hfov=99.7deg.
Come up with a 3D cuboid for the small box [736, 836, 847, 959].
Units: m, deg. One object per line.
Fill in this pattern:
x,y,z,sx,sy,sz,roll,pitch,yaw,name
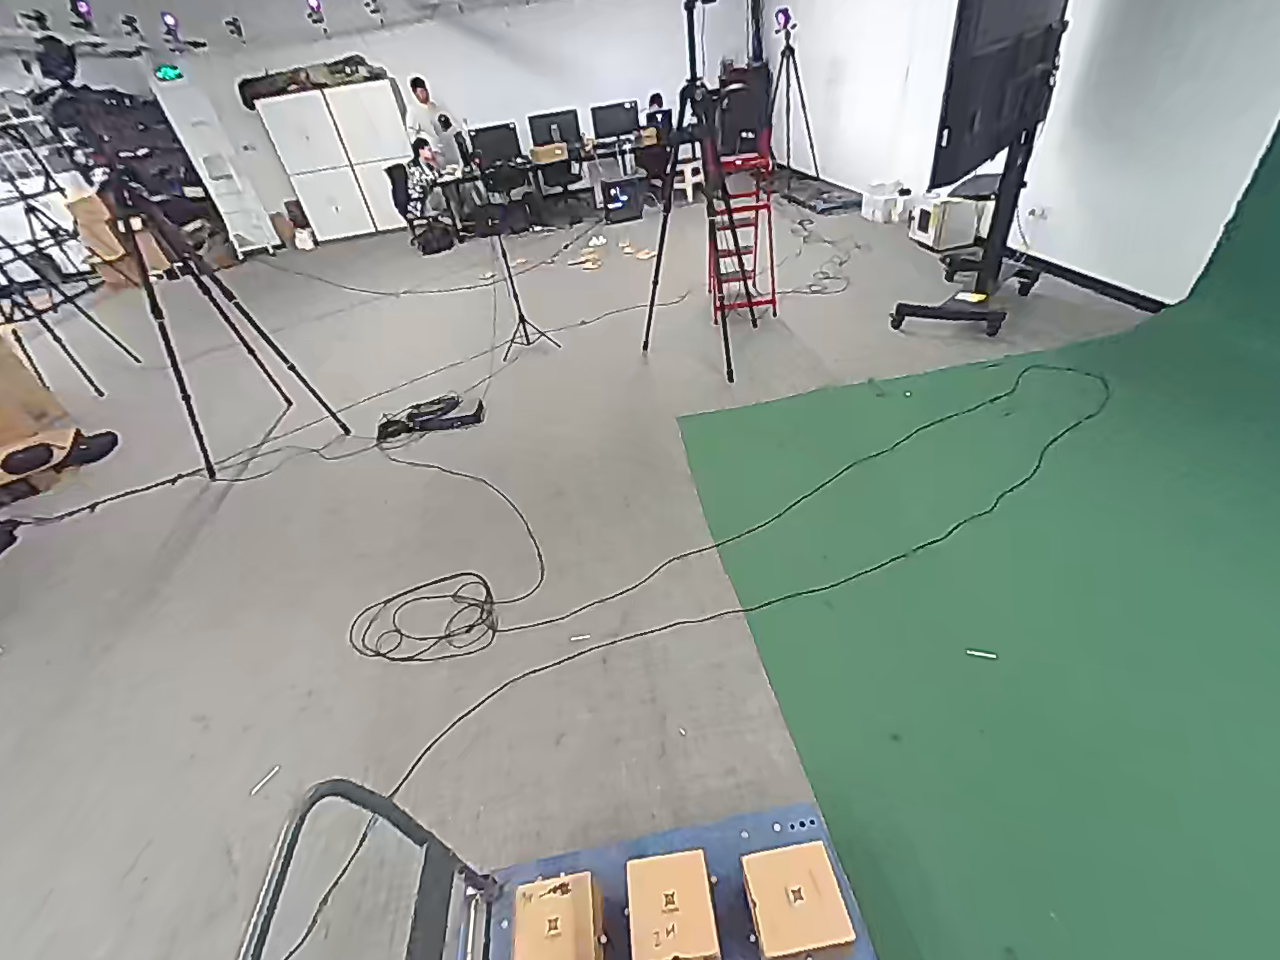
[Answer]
0.303,0.866,1.109,0.179,0.176,0.168,-10,39,-1,small box
